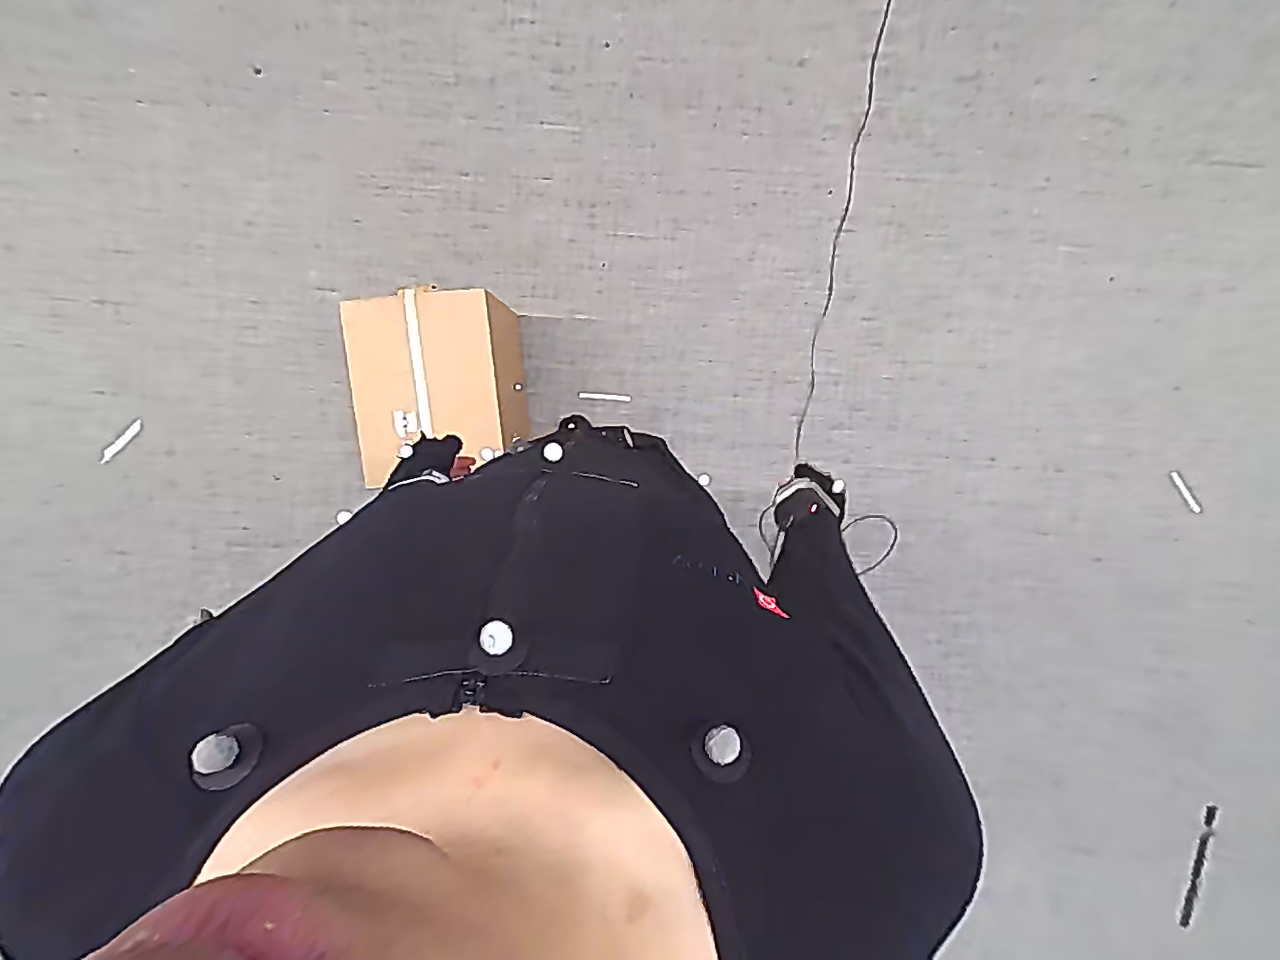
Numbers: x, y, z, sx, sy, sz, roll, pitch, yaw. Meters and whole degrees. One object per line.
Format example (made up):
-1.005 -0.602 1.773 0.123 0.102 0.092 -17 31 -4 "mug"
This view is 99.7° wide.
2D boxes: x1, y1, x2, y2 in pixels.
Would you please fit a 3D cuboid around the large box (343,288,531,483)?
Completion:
-0.467 -0.222 1.328 0.320 0.320 0.408 -5 98 2 "large box"
